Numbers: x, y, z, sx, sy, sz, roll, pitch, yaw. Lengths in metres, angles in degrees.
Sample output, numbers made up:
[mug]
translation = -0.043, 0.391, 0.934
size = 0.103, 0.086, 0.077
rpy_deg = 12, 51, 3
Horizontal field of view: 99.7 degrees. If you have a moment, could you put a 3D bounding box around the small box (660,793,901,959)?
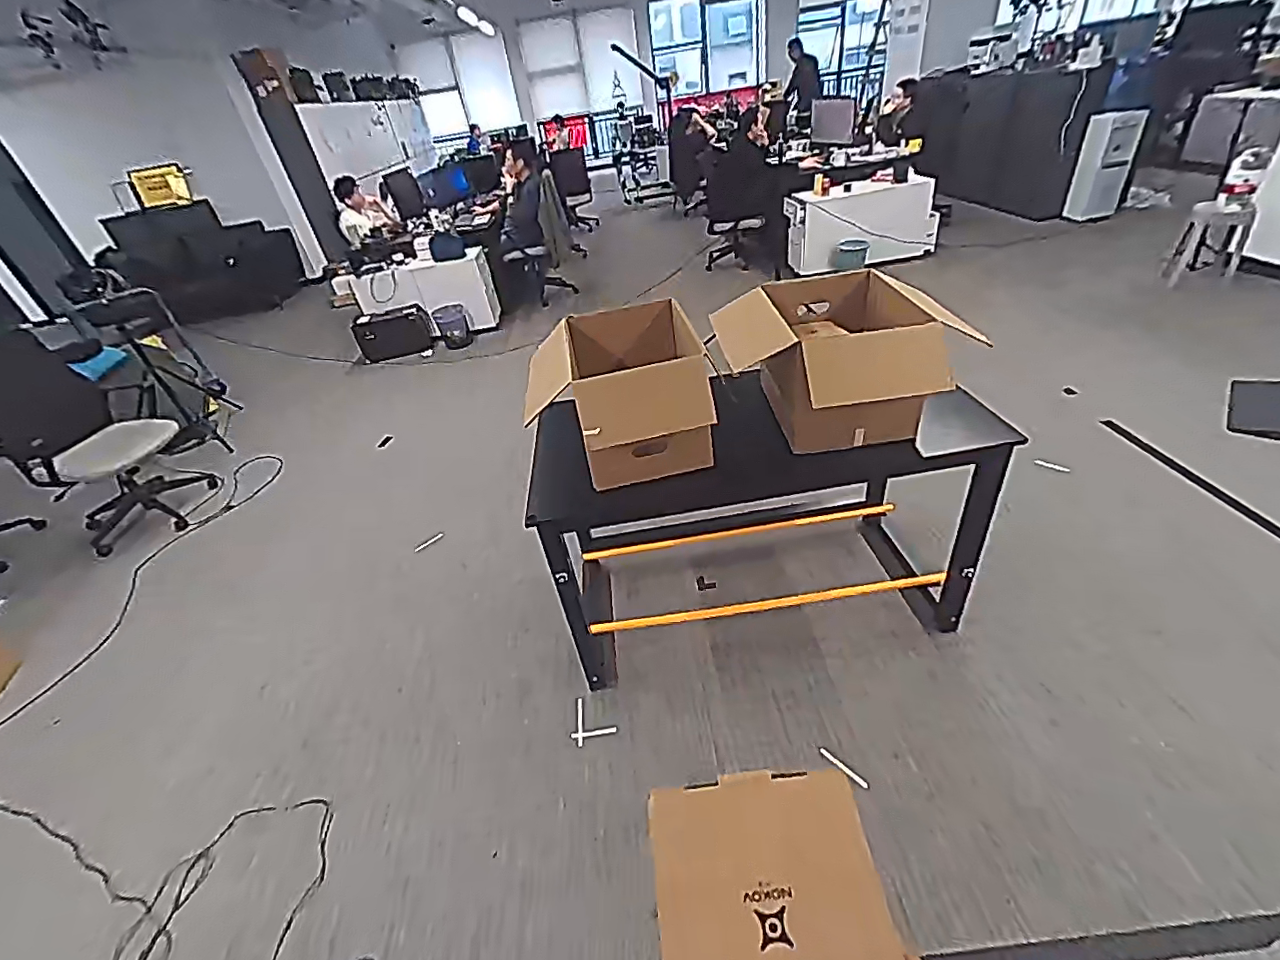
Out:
[small box]
translation = 0.109, 0.390, 0.453
size = 0.168, 0.176, 0.179
rpy_deg = -7, 46, 0
